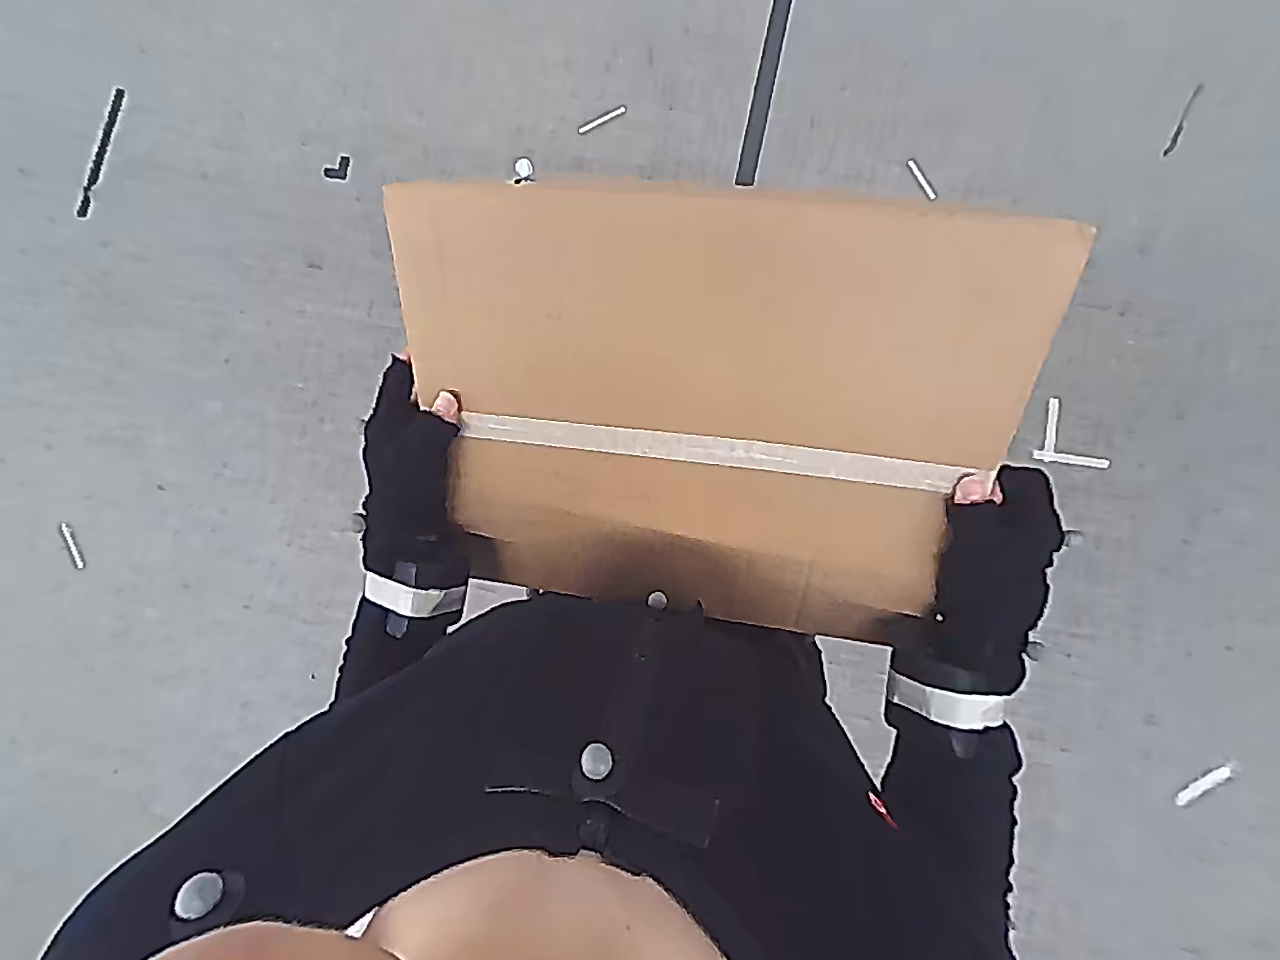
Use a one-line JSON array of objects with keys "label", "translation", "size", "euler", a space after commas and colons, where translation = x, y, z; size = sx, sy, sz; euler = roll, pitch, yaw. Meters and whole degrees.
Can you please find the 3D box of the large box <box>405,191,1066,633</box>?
[{"label": "large box", "translation": [0.061, -0.100, 0.524], "size": [0.408, 0.320, 0.320], "euler": [8, 121, 8]}]
